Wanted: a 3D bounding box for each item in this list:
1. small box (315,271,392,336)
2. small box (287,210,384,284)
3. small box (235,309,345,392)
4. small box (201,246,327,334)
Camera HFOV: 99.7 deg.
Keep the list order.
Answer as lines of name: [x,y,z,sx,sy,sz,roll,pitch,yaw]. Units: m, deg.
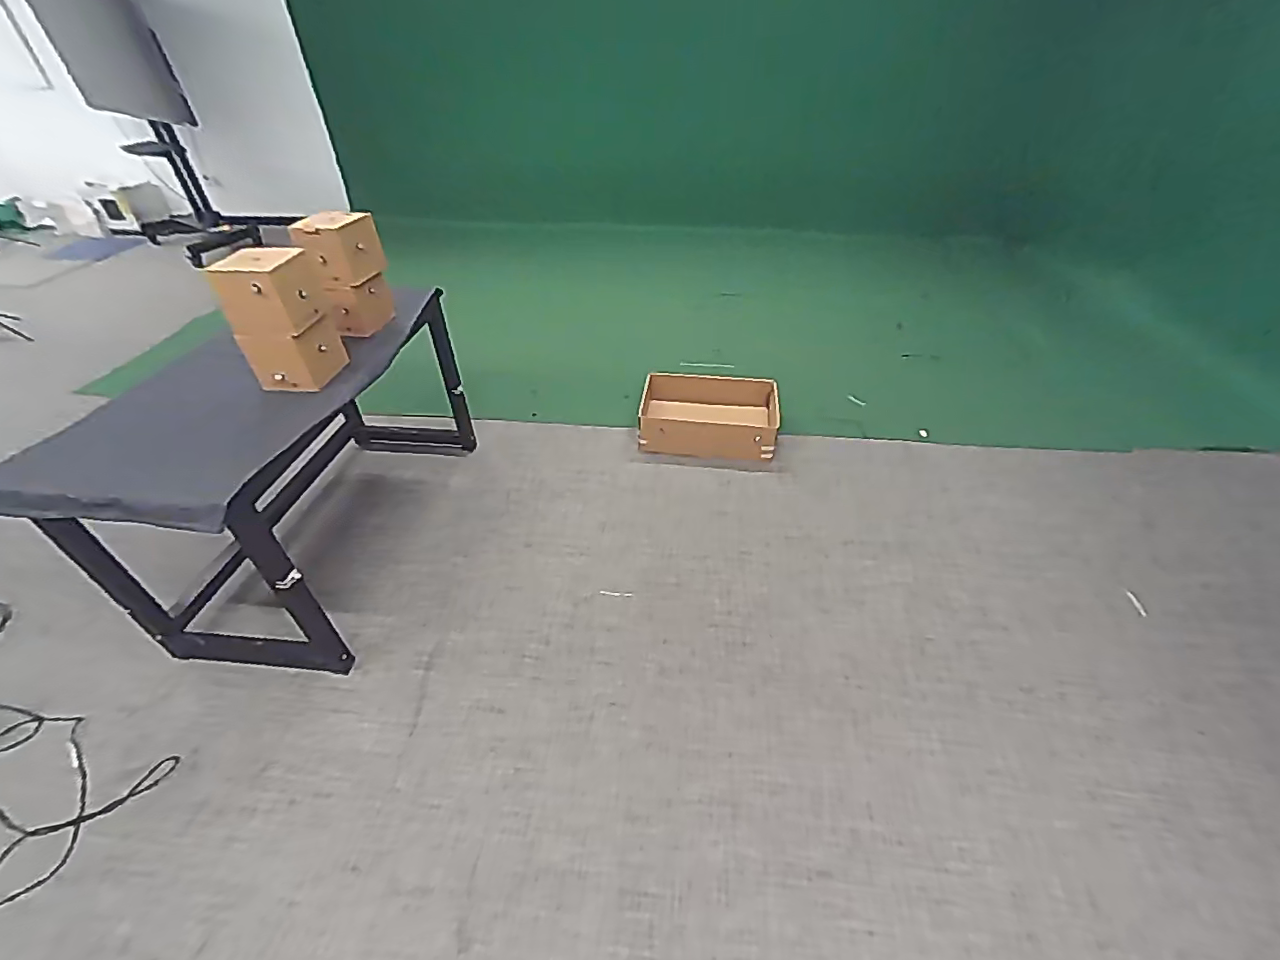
small box: [-0.940,-0.583,1.760,0.168,0.176,0.179,6,40,7]
small box: [-0.923,-0.714,1.661,0.168,0.176,0.179,8,42,10]
small box: [-0.956,-0.363,1.501,0.168,0.176,0.179,3,42,6]
small box: [-0.952,-0.486,1.391,0.179,0.176,0.168,2,41,5]
